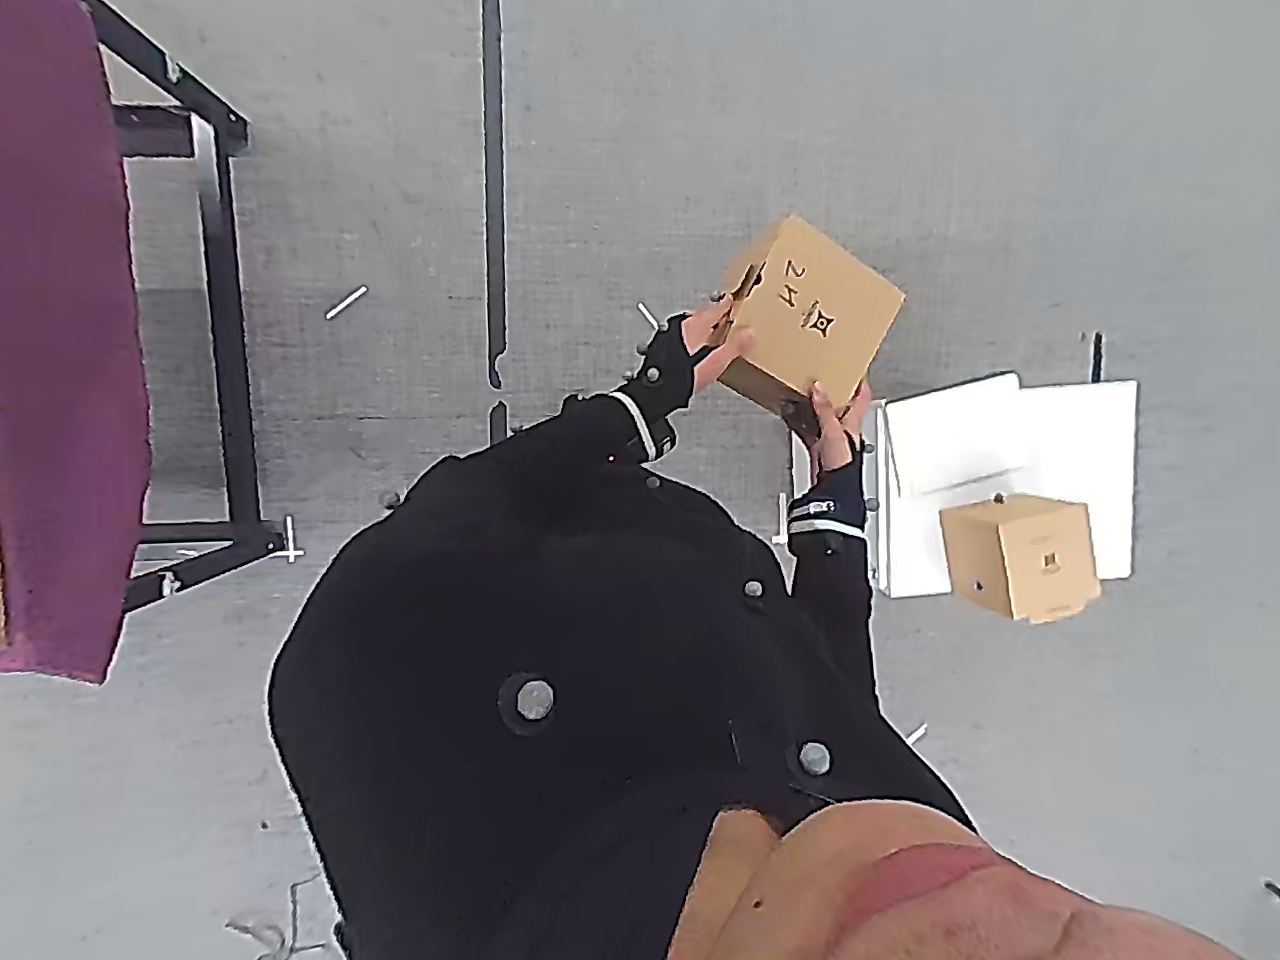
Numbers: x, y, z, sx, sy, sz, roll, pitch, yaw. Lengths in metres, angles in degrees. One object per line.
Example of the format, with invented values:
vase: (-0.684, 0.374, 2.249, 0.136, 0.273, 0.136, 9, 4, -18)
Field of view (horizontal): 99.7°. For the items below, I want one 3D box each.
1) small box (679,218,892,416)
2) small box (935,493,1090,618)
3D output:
small box: (0.175, -0.197, 0.703, 0.179, 0.176, 0.168, 28, 91, -11)
small box: (0.688, 0.132, 1.014, 0.168, 0.176, 0.179, -13, 96, -3)
